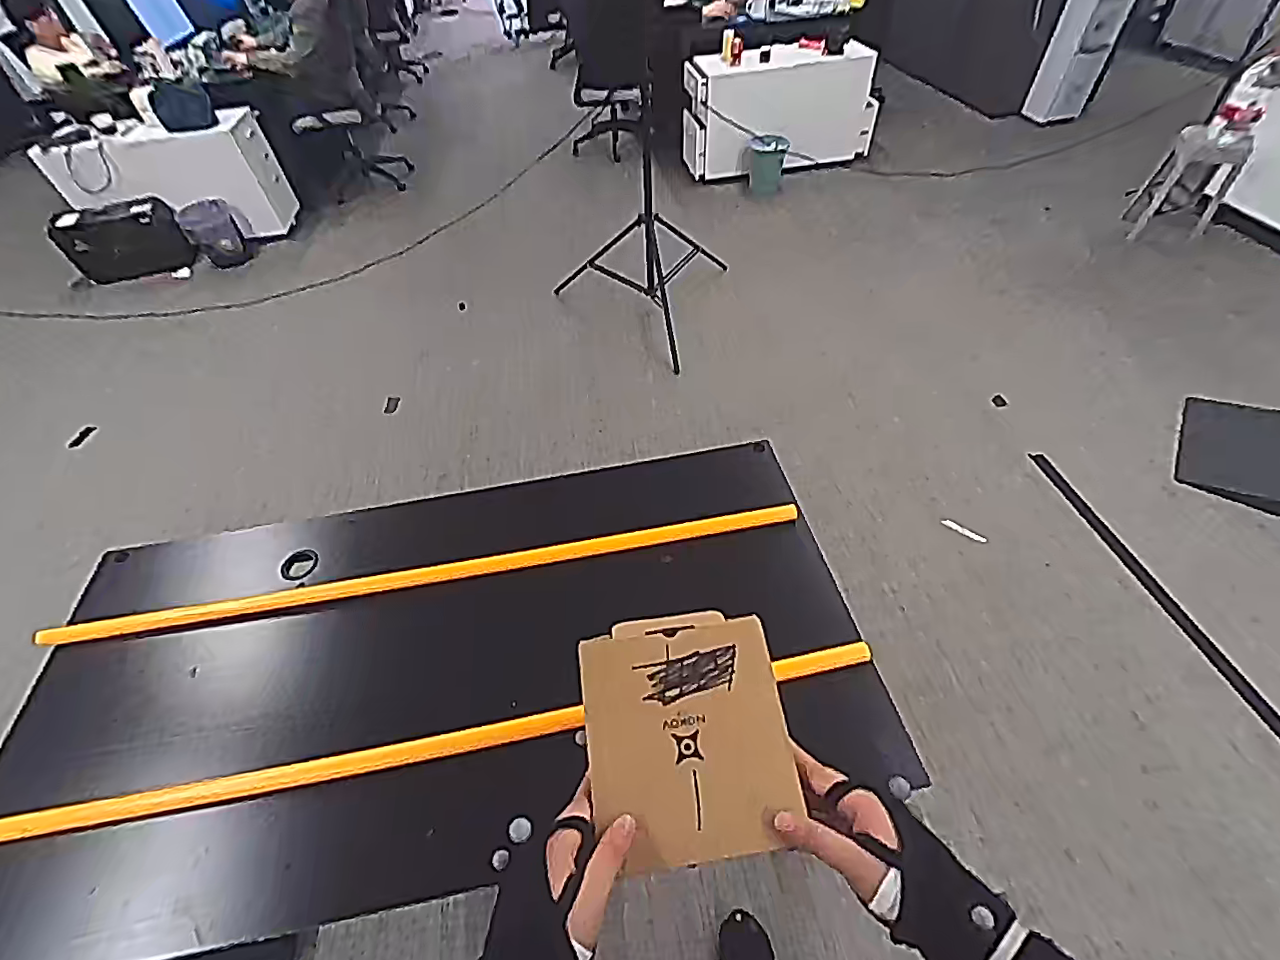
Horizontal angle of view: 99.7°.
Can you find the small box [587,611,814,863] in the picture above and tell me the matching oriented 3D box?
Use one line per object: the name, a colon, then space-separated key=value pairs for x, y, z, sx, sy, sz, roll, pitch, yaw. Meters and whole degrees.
small box: x=0.043 y=0.242 z=0.520 sx=0.168 sy=0.176 sz=0.179 roll=-8 pitch=62 yaw=-3
